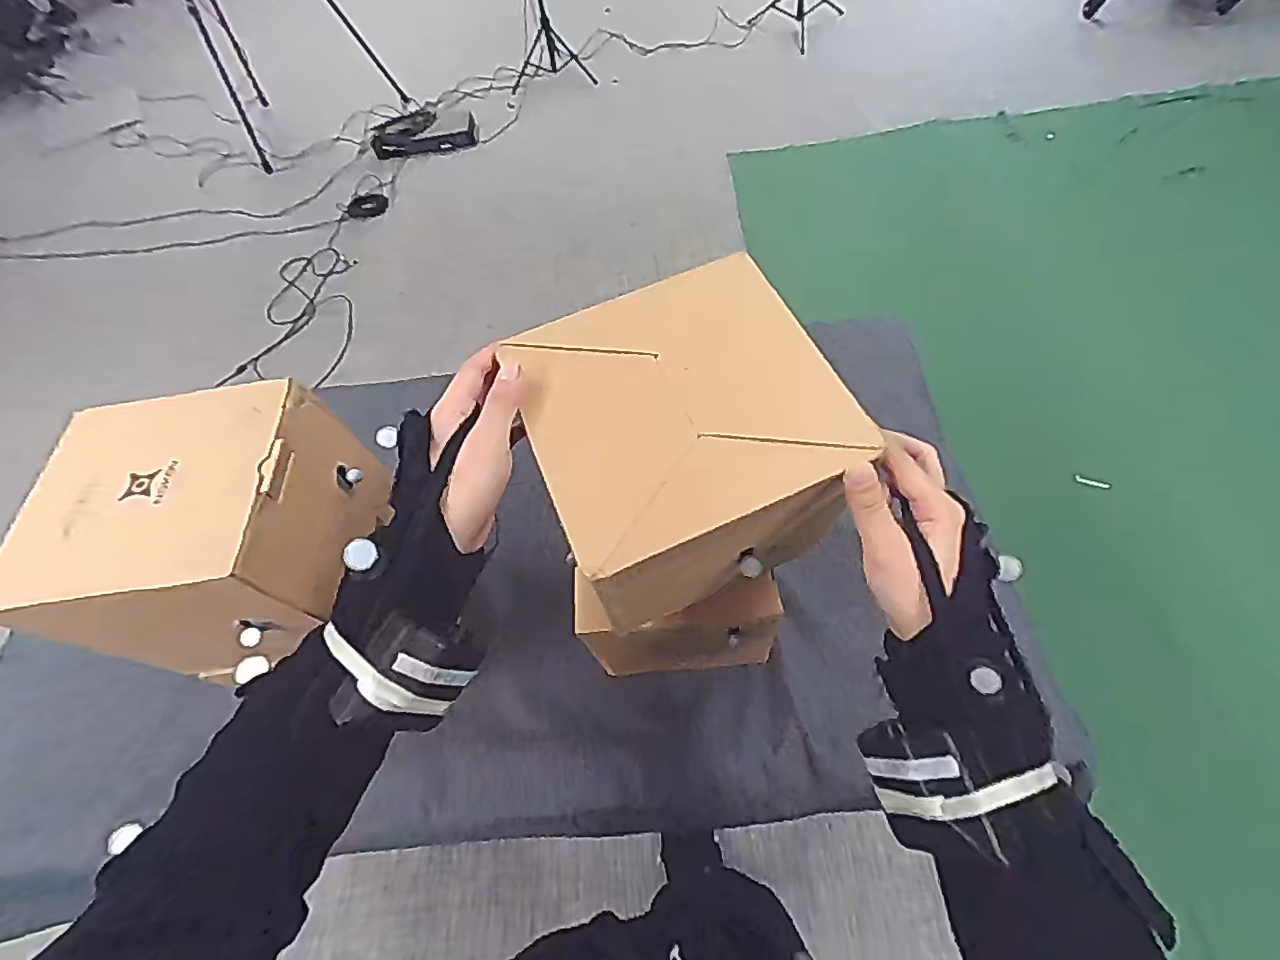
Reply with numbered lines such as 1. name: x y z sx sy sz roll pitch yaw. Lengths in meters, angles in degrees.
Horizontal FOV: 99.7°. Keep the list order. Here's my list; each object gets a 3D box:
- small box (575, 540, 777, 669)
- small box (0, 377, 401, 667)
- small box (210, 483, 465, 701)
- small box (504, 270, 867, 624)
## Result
1. small box: 0.034 0.092 0.566 0.179 0.176 0.168 -6 58 3
2. small box: -0.323 0.044 0.447 0.179 0.176 0.168 -10 58 2
3. small box: -0.301 0.126 0.584 0.168 0.176 0.179 -8 59 3
4. small box: 0.028 -0.018 0.388 0.179 0.176 0.168 -24 67 -7
